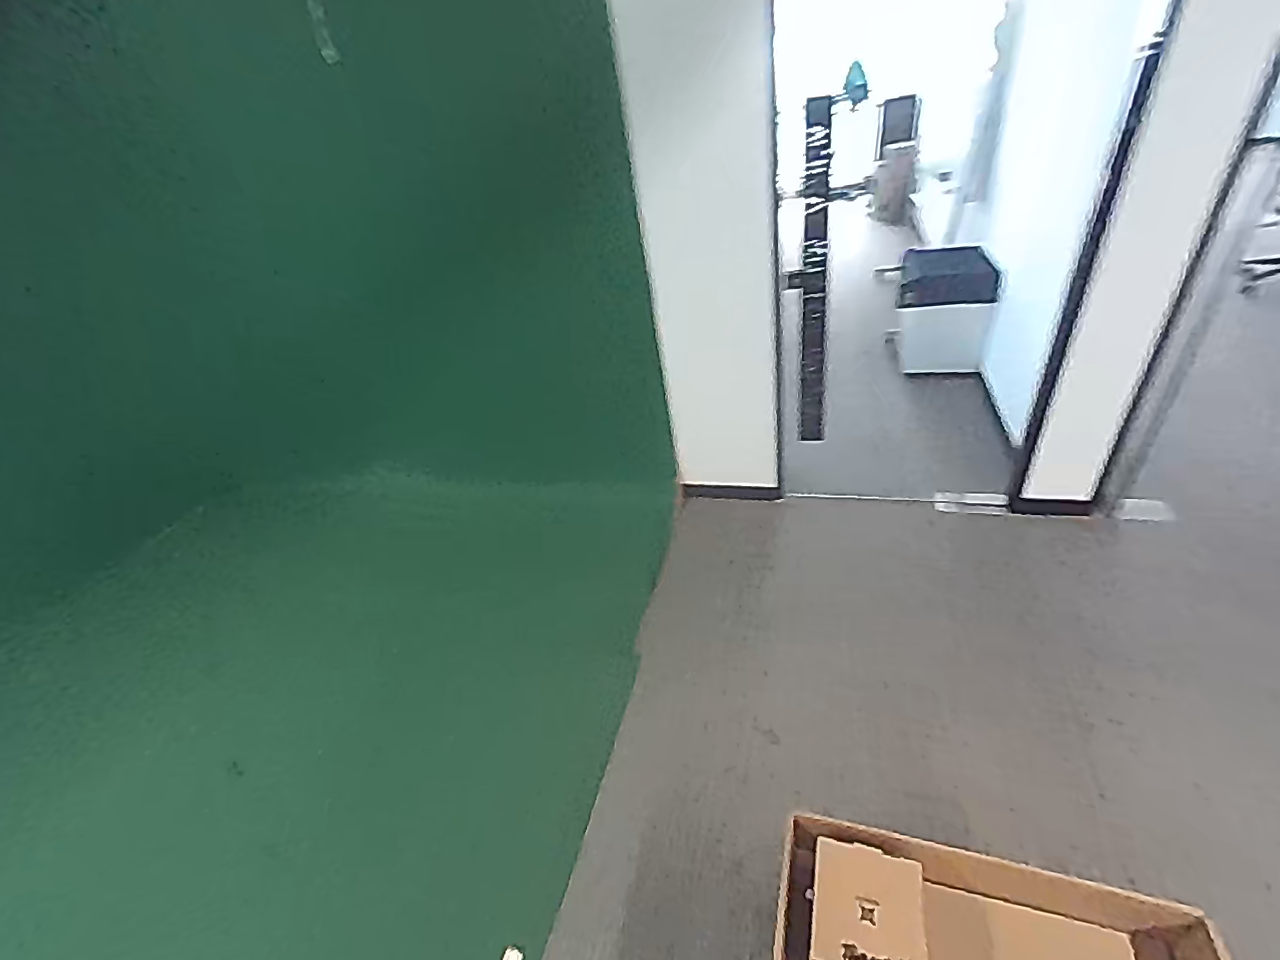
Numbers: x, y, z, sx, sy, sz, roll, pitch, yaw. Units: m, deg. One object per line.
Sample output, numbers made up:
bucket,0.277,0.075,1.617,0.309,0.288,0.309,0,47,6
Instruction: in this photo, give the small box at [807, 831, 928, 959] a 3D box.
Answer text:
small box,0.374,0.736,0.903,0.168,0.176,0.179,5,38,21
